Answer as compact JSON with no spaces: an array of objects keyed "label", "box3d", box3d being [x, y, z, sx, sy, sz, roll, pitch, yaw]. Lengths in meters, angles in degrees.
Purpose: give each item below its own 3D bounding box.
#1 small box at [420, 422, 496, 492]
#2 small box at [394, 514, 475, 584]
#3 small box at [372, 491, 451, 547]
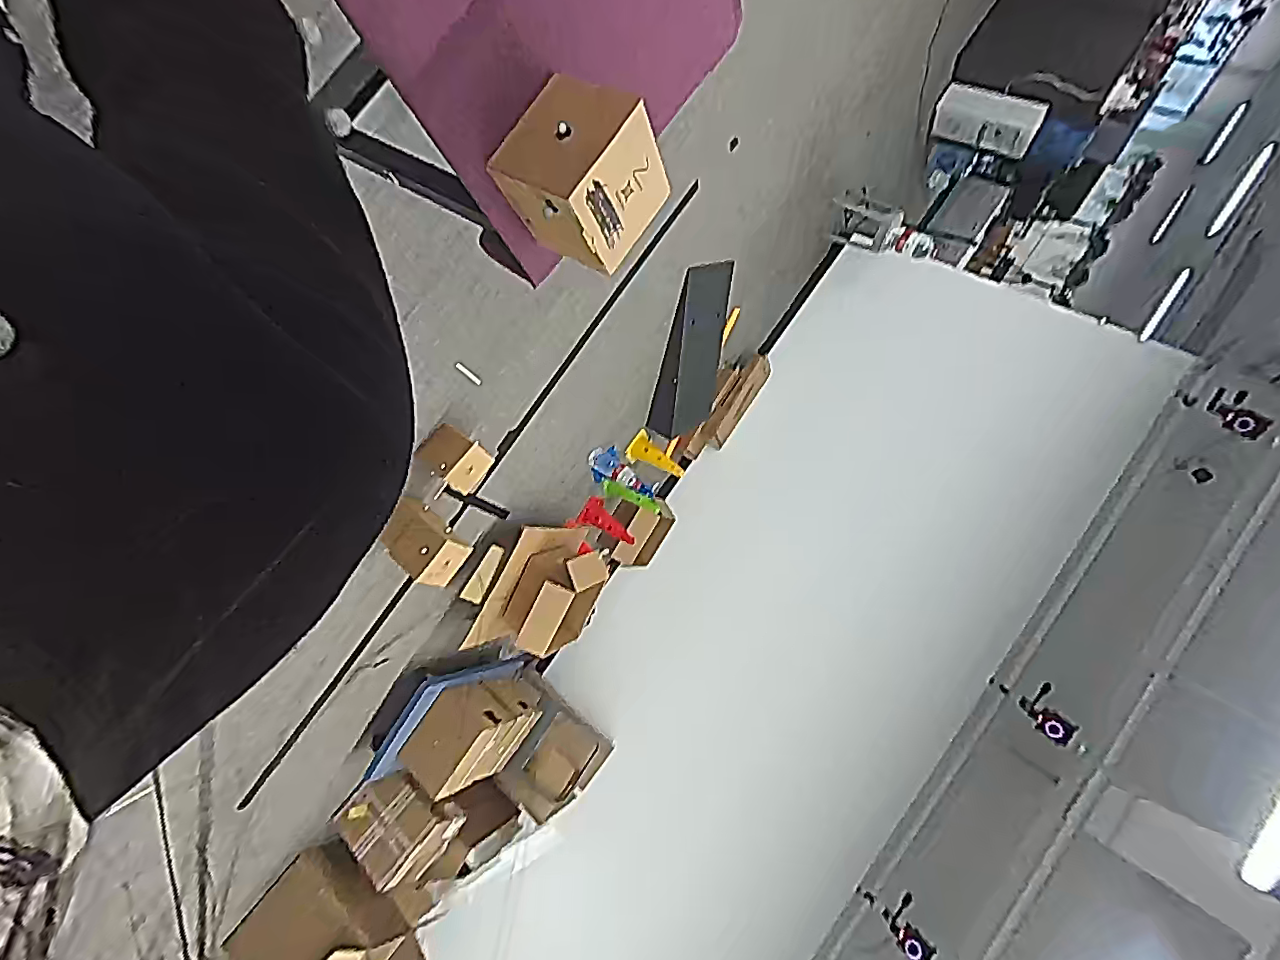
[{"label":"small box","box3d":[-0.686,-0.089,2.030,0.179,0.176,0.168,-52,158,-9]},{"label":"small box","box3d":[-0.740,0.246,1.942,0.179,0.176,0.168,-53,157,-5]},{"label":"small box","box3d":[-0.858,0.161,2.021,0.168,0.176,0.179,-54,158,-3]}]
